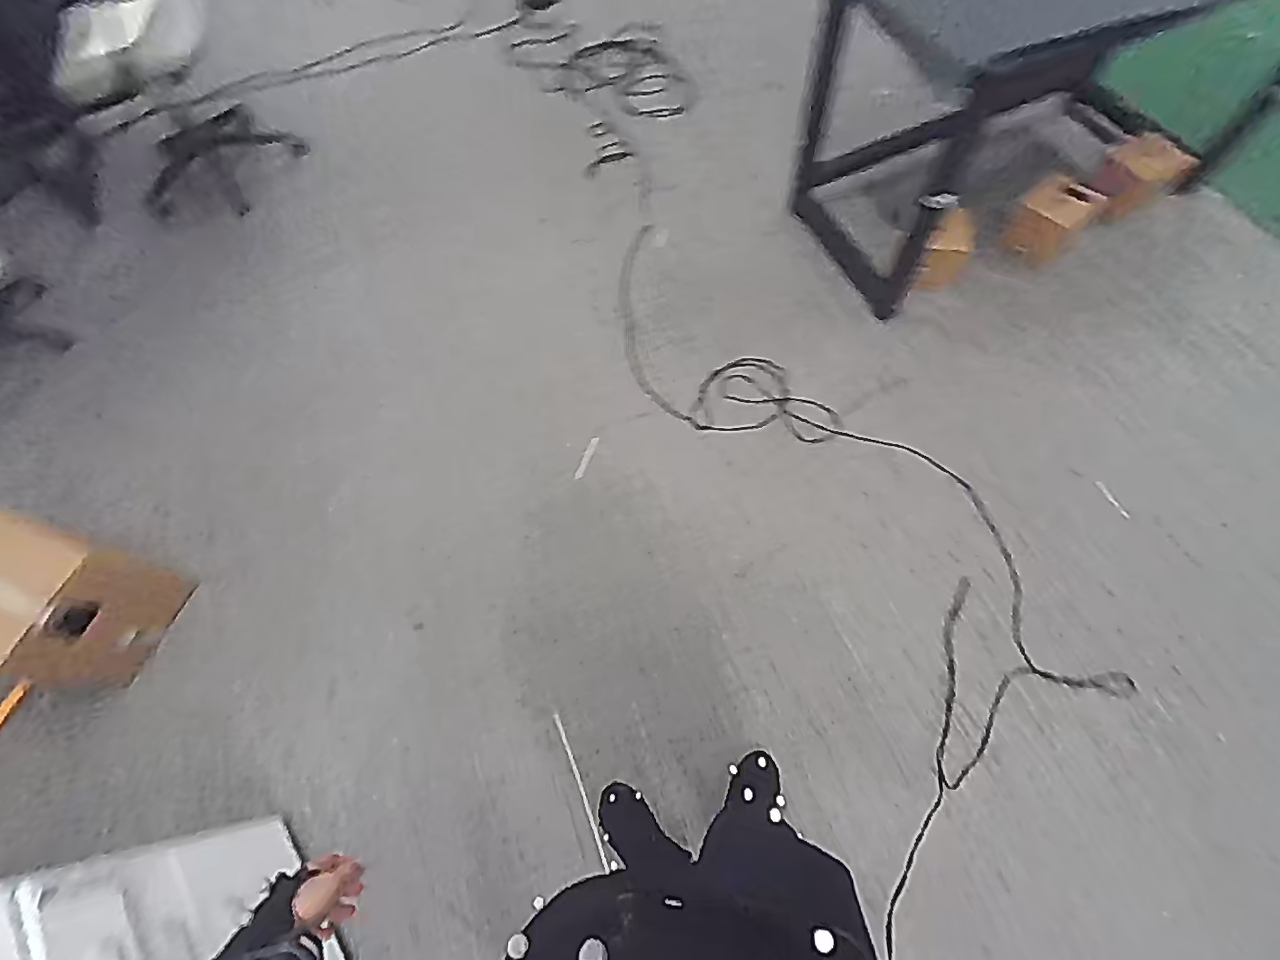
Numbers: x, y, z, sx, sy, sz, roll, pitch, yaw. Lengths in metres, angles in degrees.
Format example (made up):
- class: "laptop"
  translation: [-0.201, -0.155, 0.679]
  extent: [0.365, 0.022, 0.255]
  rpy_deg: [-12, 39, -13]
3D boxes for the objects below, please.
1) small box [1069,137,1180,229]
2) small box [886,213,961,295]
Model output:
- class: "small box"
  translation: [1.524, -0.941, 1.722]
  extent: [0.179, 0.176, 0.168]
  rpy_deg: [-25, 67, -5]
- class: "small box"
  translation: [0.881, -0.703, 1.691]
  extent: [0.168, 0.176, 0.179]
  rpy_deg: [7, 66, 9]
